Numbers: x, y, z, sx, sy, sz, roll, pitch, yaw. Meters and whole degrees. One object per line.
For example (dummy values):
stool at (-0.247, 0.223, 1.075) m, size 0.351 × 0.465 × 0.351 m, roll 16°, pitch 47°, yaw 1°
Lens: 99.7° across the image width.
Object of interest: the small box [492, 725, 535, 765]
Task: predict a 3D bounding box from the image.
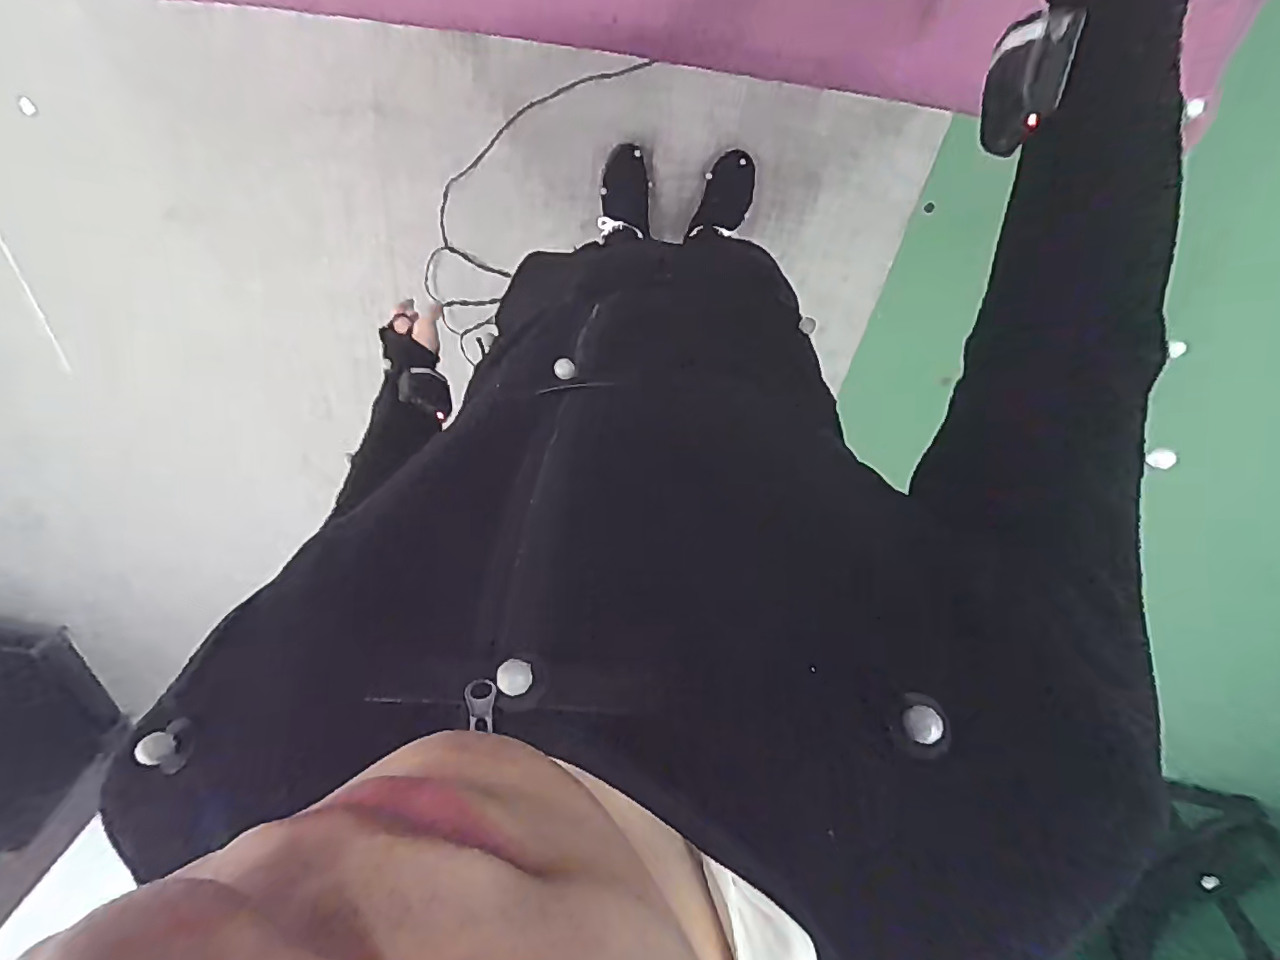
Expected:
small box at (-0.504, 1.068, 2.056) m, size 0.168 × 0.176 × 0.179 m, roll 12°, pitch 124°, yaw -3°
